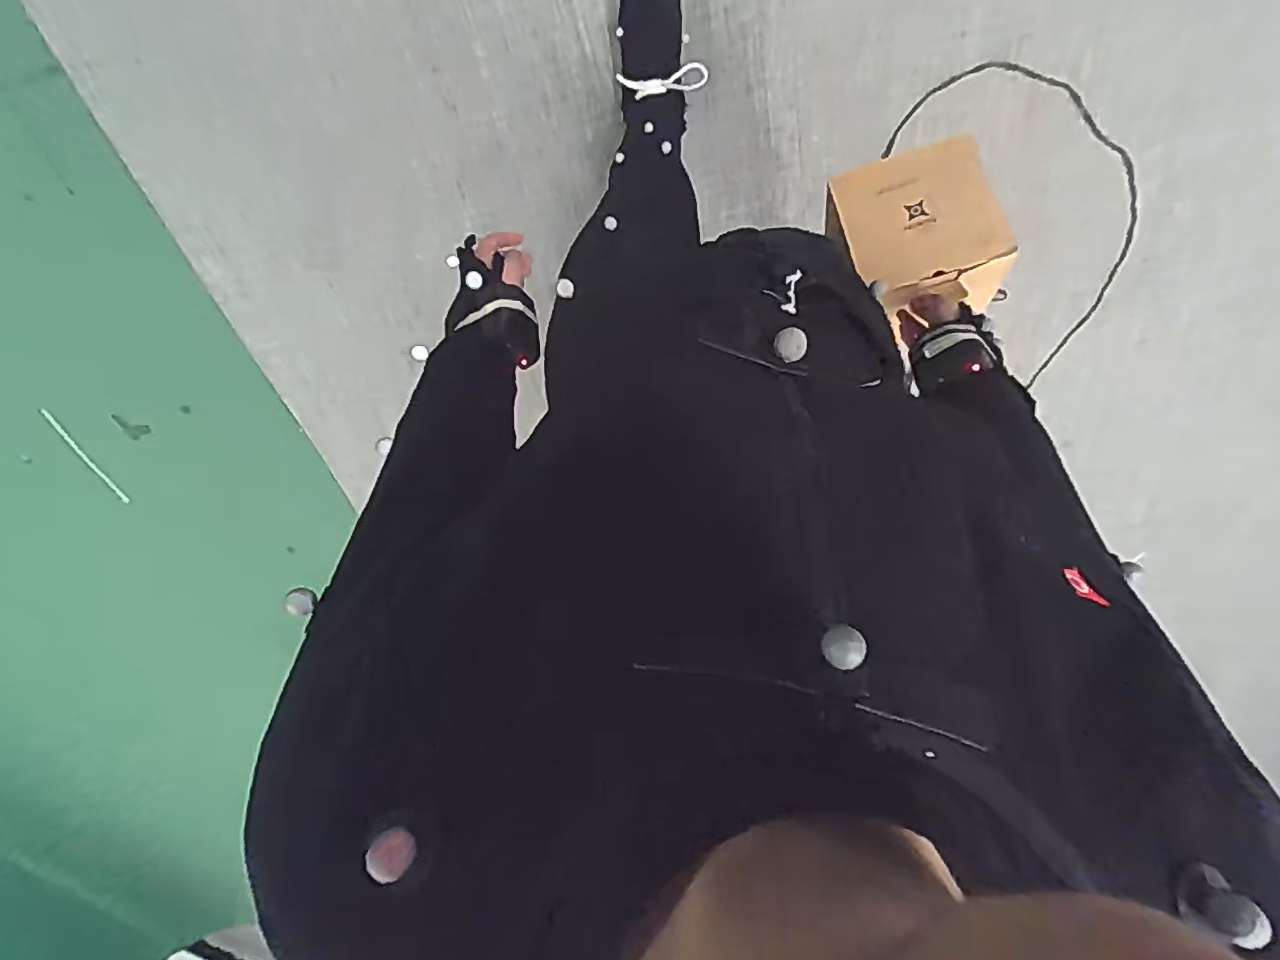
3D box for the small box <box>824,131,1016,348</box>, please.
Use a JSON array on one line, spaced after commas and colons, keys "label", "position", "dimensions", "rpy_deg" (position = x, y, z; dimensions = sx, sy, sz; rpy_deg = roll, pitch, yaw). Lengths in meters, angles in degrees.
[{"label": "small box", "position": [0.343, -0.291, 0.700], "dimensions": [0.168, 0.179, 0.176], "rpy_deg": [-13, 162, 13]}]
